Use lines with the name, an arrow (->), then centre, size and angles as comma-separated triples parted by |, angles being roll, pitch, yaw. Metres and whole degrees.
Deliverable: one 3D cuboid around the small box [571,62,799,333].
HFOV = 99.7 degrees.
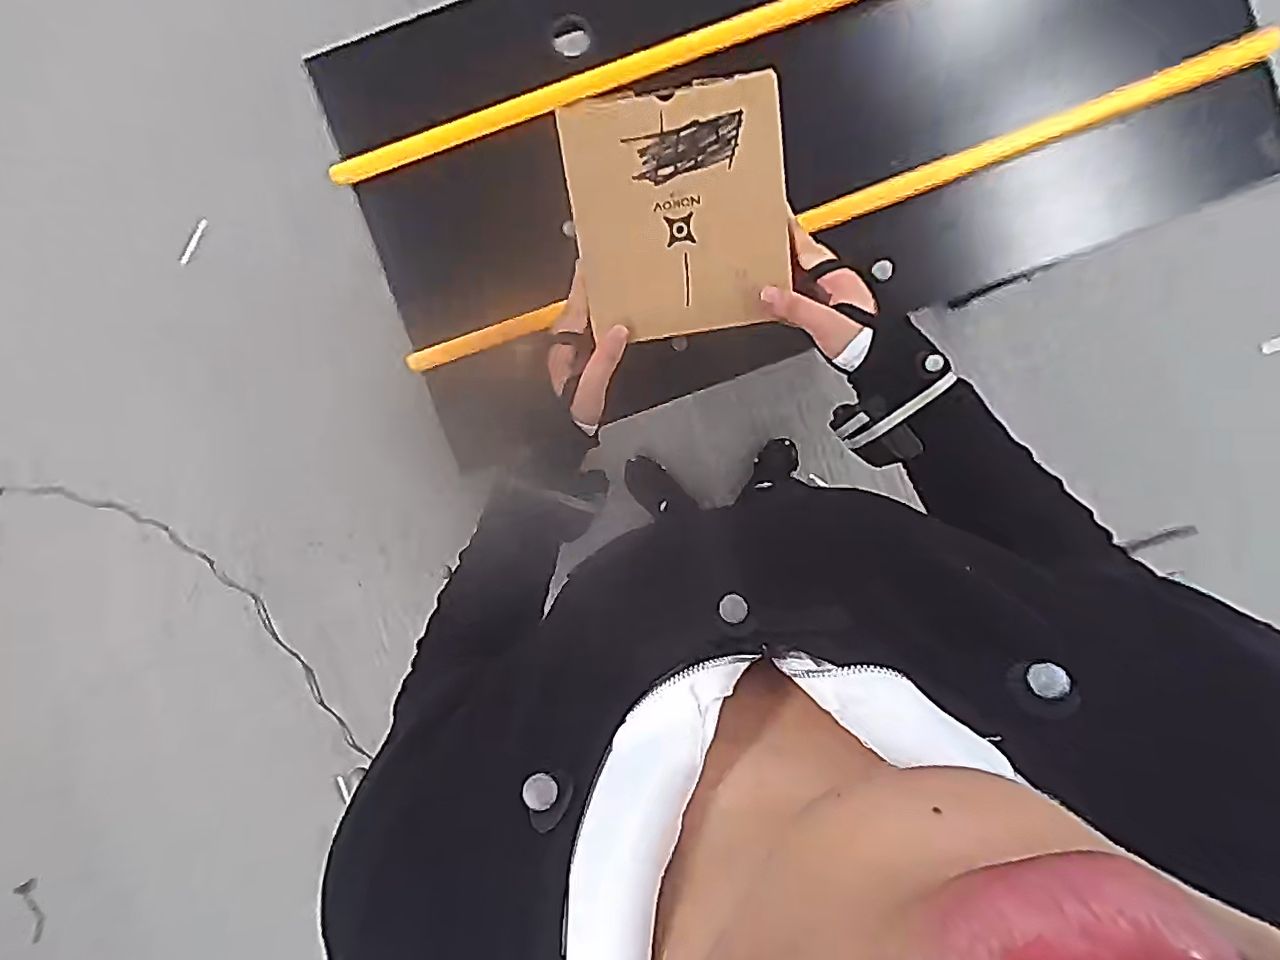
small box -> 0.038, -0.233, 0.495 | 0.168, 0.176, 0.179 | -7, 106, 3
